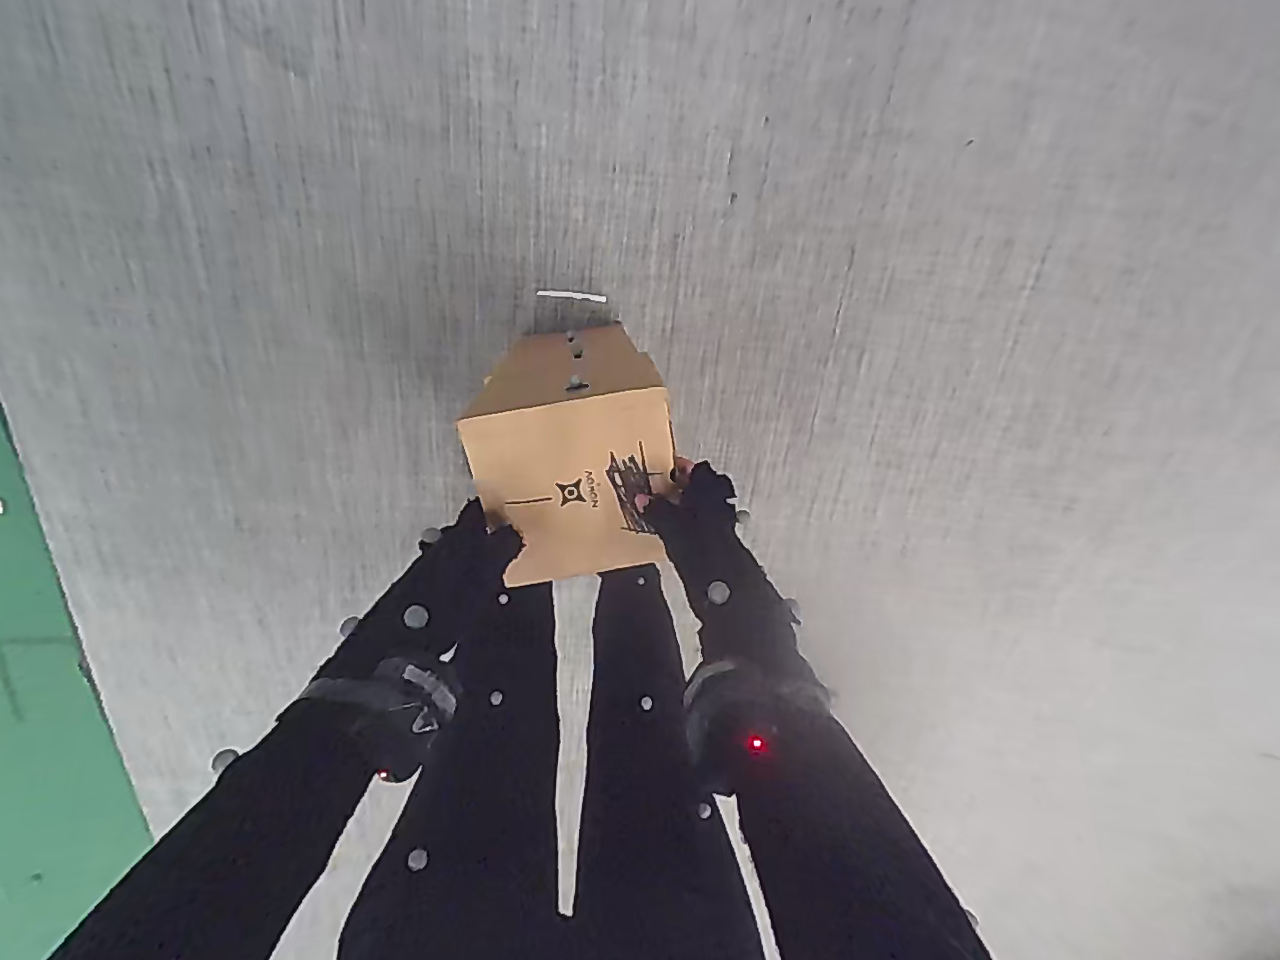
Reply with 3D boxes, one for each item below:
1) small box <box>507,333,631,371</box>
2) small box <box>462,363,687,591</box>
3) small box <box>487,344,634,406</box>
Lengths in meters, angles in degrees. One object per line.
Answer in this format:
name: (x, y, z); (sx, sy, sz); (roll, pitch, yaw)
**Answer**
small box: (-0.096, -0.131, 0.854); (0.179, 0.176, 0.168); (-8, 112, 0)
small box: (-0.057, -0.014, 0.549); (0.179, 0.176, 0.168); (-9, 112, 0)
small box: (-0.081, -0.072, 0.704); (0.179, 0.176, 0.168); (-10, 114, 0)
